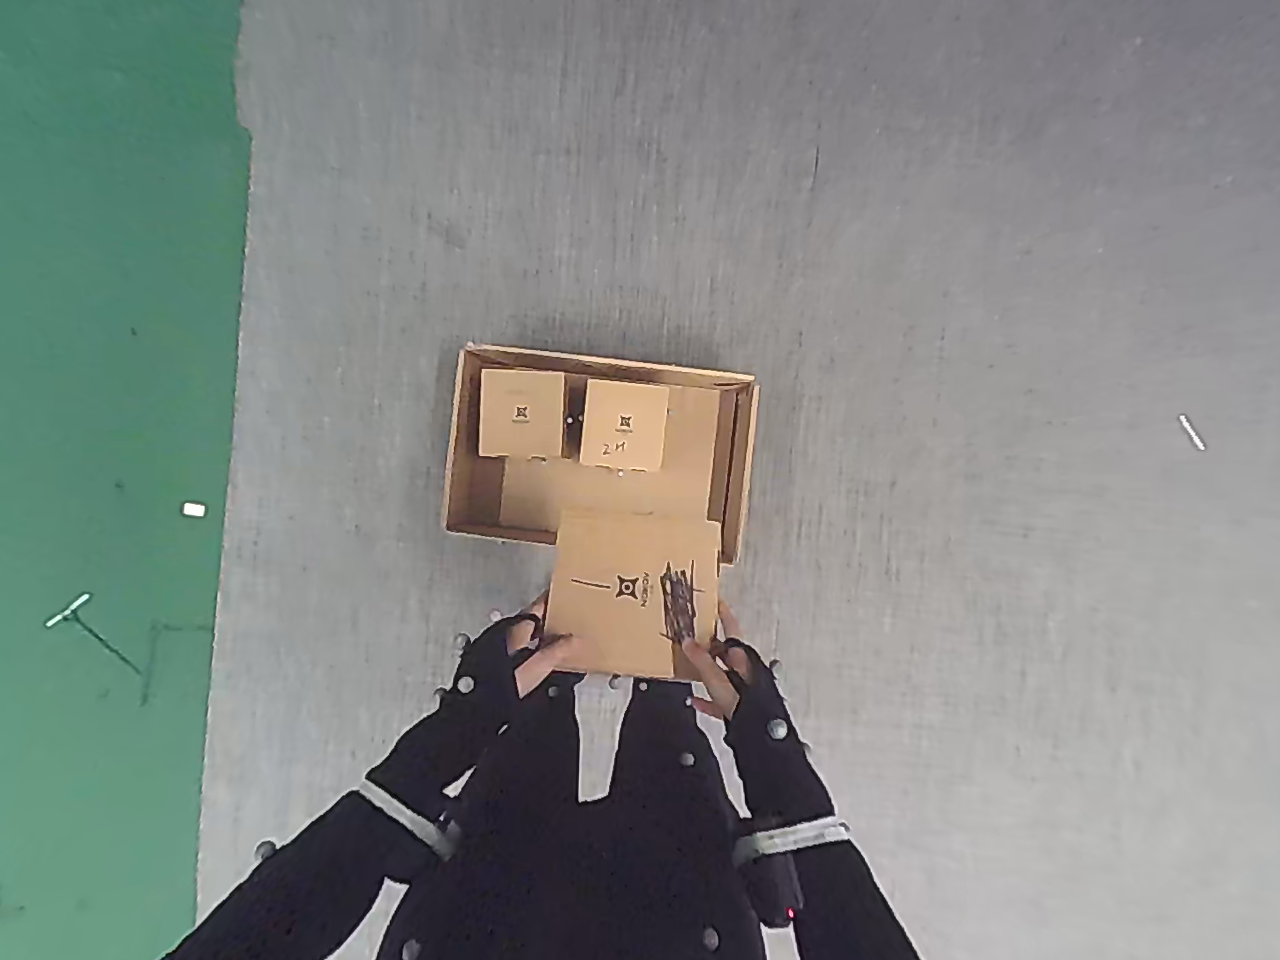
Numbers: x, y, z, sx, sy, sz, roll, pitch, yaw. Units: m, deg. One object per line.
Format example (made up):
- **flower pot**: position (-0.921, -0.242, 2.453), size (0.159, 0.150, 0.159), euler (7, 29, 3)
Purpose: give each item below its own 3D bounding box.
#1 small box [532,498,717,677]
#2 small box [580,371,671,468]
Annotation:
- **small box**: position (-0.018, 0.133, 0.630), size (0.179, 0.176, 0.168), euler (7, 69, -2)
- **small box**: position (-0.029, -0.123, 1.150), size (0.168, 0.176, 0.179), euler (7, 92, 1)
